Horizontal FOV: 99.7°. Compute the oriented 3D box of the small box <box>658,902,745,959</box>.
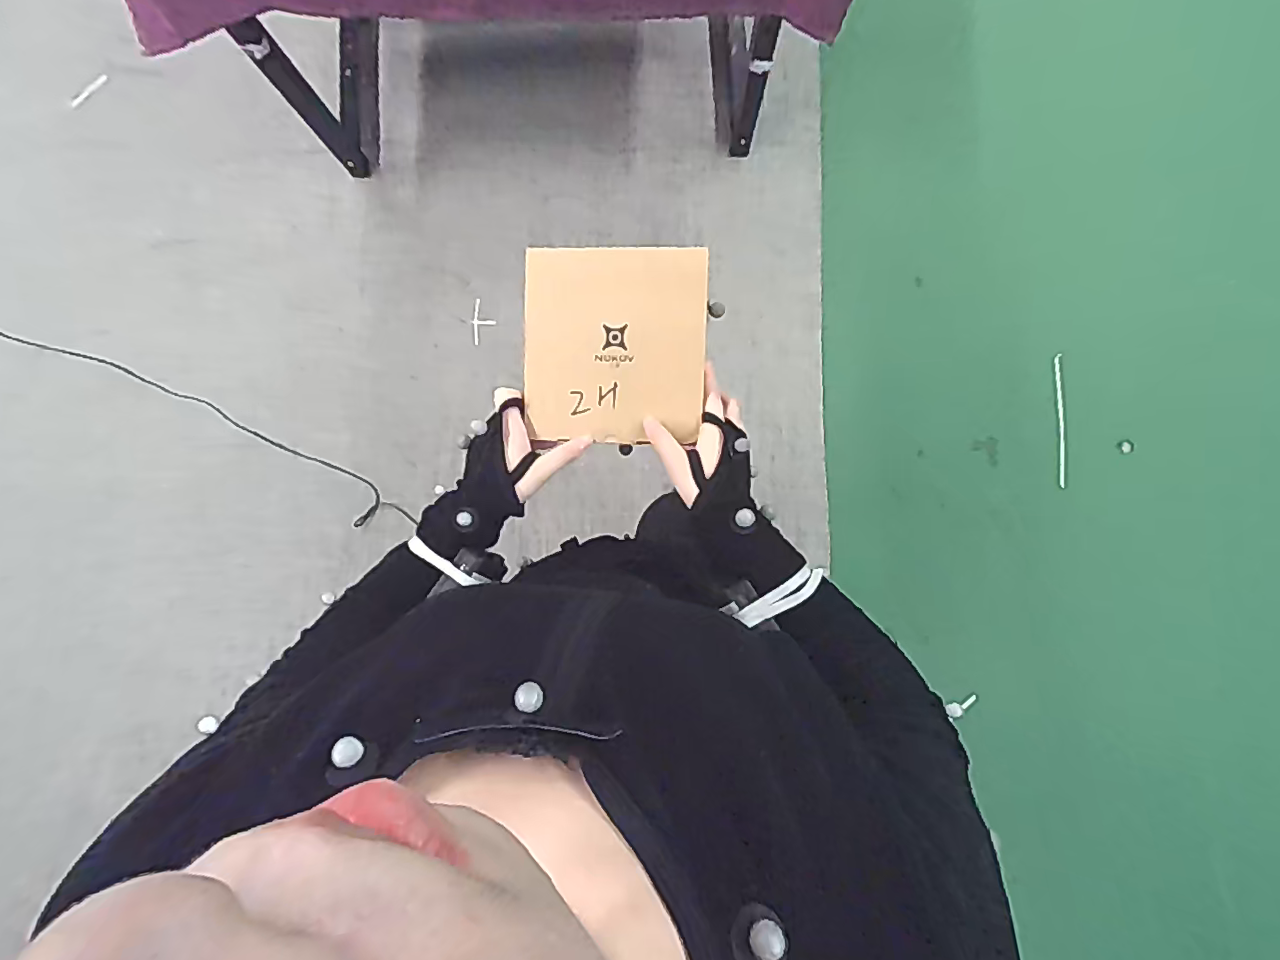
[{"bbox_3d":[0.126,1.043,1.132,0.168,0.176,0.179,8,85,1],"label":"small box"}]

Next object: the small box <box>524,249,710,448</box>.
[{"bbox_3d":[-0.016,-0.127,0.569,0.168,0.176,0.179,2,97,6],"label":"small box"}]
